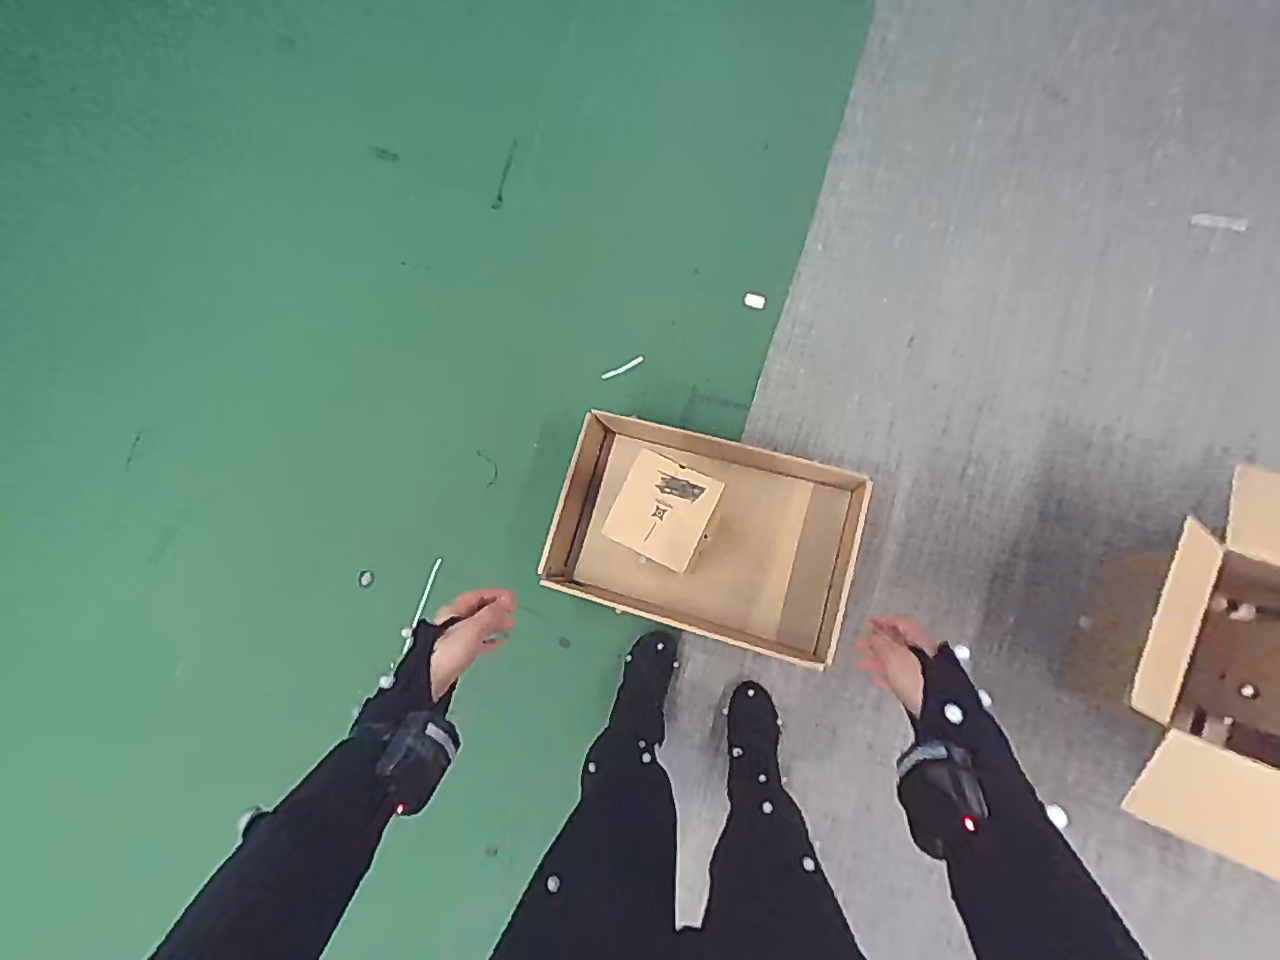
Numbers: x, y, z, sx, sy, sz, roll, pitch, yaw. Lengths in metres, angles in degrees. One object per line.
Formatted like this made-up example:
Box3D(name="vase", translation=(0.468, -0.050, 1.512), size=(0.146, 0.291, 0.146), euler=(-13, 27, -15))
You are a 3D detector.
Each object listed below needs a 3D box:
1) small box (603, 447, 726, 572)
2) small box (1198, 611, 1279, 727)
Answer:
Box3D(name="small box", translation=(0.051, 0.062, 1.028), size=(0.168, 0.176, 0.179), euler=(25, 85, 11))
Box3D(name="small box", translation=(1.051, 0.314, 0.849), size=(0.179, 0.176, 0.168), euler=(18, 85, 11))
